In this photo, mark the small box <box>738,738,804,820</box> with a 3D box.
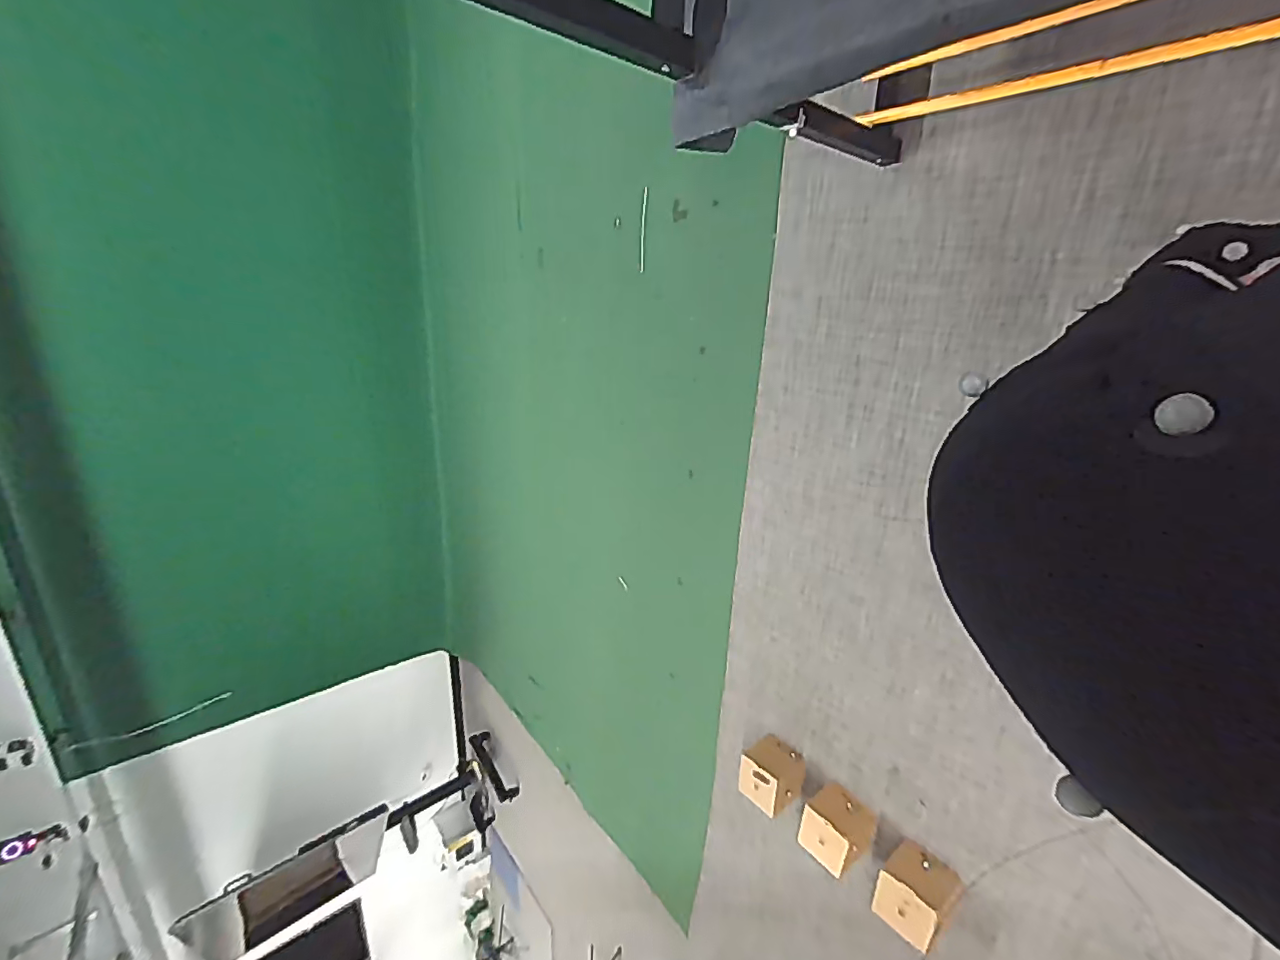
[{"bbox_3d":[0.488,1.101,2.009,0.168,0.176,0.179,21,116,47],"label":"small box"}]

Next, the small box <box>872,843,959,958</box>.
[{"bbox_3d":[0.825,1.248,1.617,0.168,0.176,0.179,22,115,46],"label":"small box"}]

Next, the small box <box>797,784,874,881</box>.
[{"bbox_3d":[0.658,1.175,1.814,0.168,0.176,0.179,26,118,46],"label":"small box"}]
